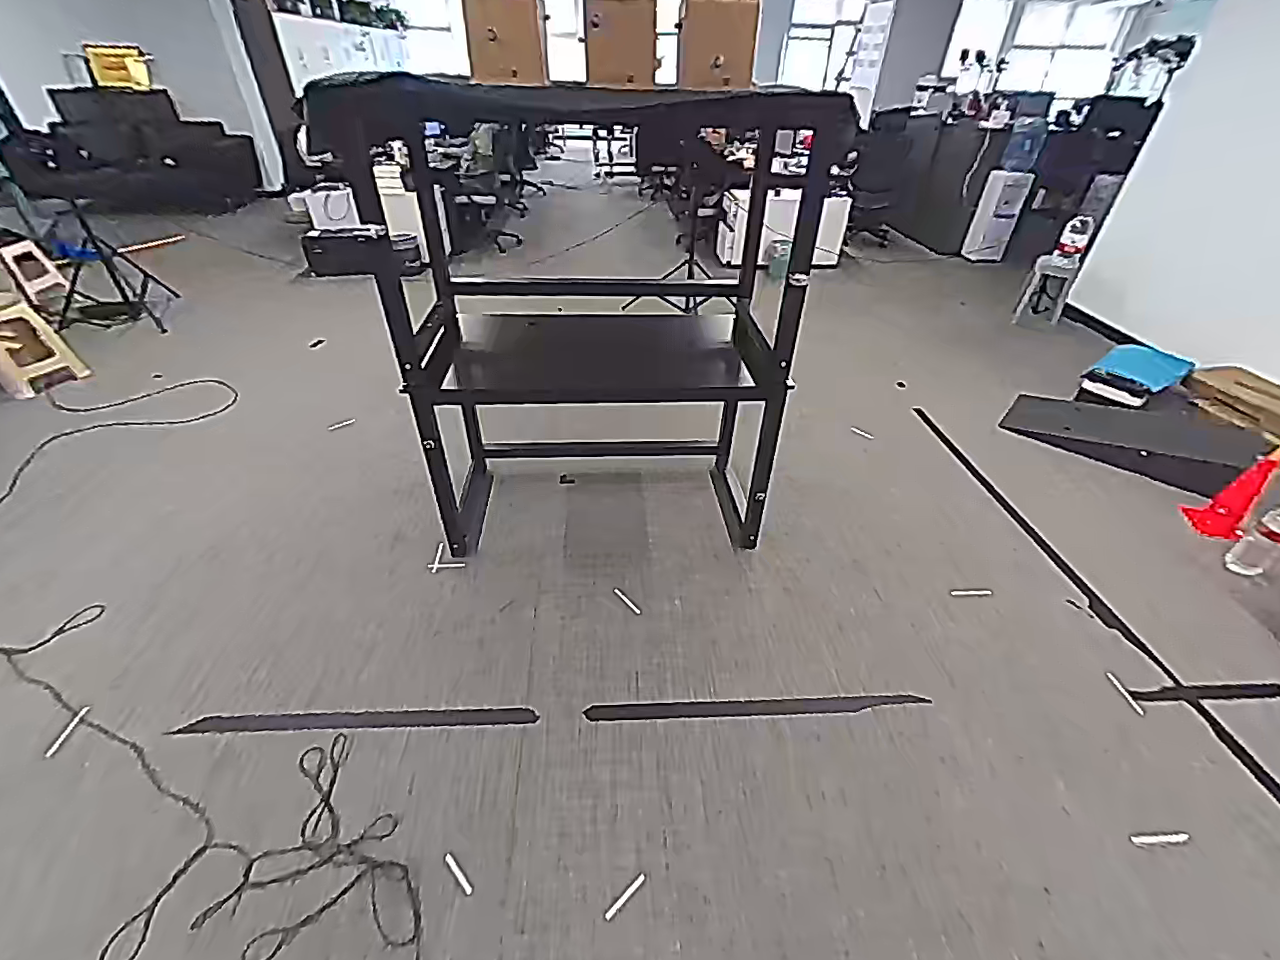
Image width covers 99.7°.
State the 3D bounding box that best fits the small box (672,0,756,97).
[{"bbox_3d":[0.167,-1.016,1.280,0.168,0.176,0.179,-2,37,-2],"label":"small box"}]

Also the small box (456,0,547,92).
[{"bbox_3d":[-0.314,-1.016,1.267,0.168,0.176,0.179,0,36,-2],"label":"small box"}]

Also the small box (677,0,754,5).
[{"bbox_3d":[0.171,-1.148,1.183,0.168,0.176,0.179,0,37,-2],"label":"small box"}]
